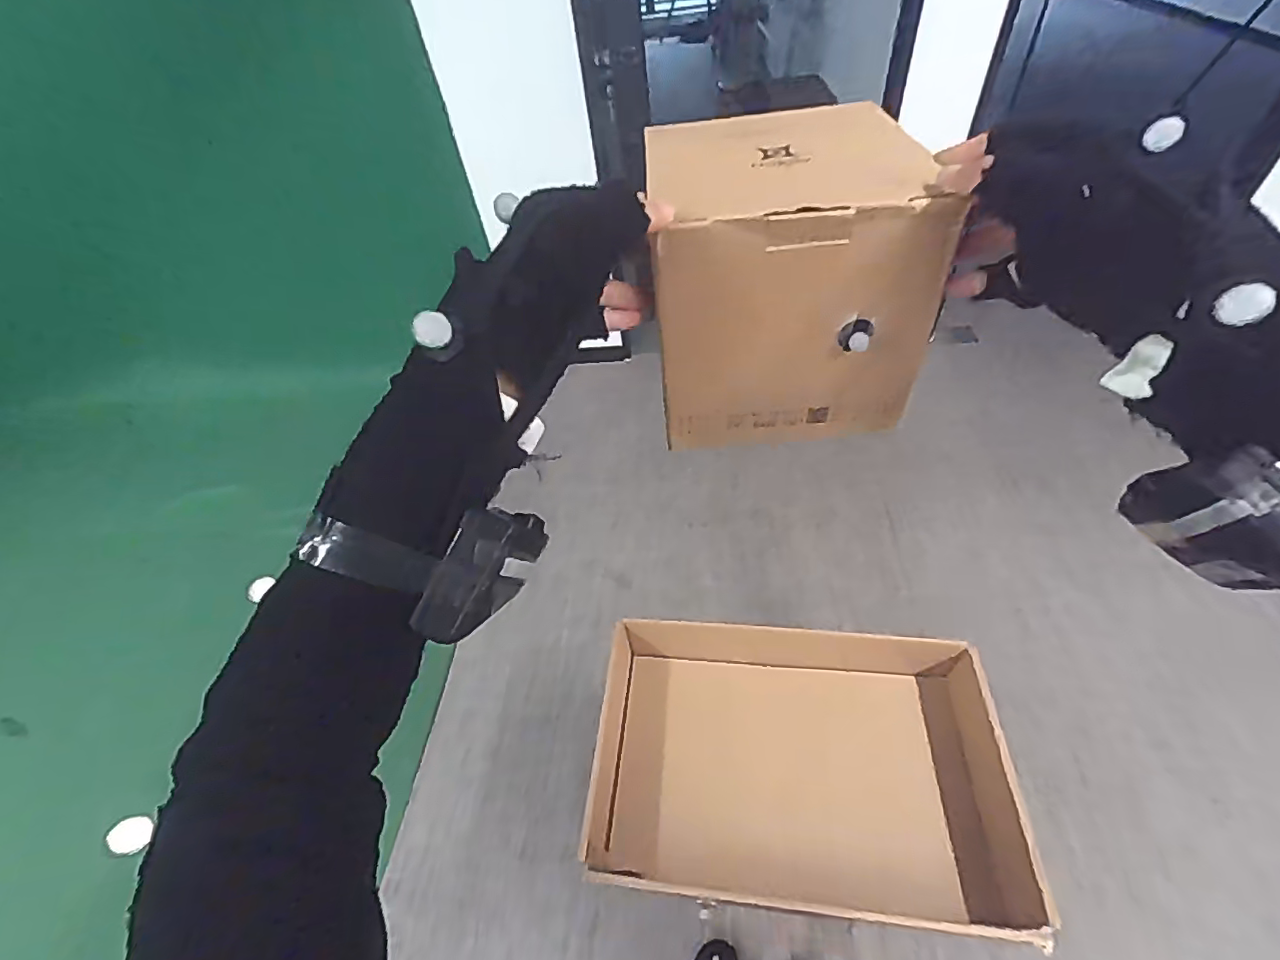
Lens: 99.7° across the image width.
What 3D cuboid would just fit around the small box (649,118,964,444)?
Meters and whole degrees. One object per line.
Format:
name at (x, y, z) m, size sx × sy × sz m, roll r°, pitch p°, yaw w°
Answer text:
small box at (0.095, -0.138, 0.397) m, size 0.168 × 0.176 × 0.179 m, roll -4°, pitch 46°, yaw 3°
